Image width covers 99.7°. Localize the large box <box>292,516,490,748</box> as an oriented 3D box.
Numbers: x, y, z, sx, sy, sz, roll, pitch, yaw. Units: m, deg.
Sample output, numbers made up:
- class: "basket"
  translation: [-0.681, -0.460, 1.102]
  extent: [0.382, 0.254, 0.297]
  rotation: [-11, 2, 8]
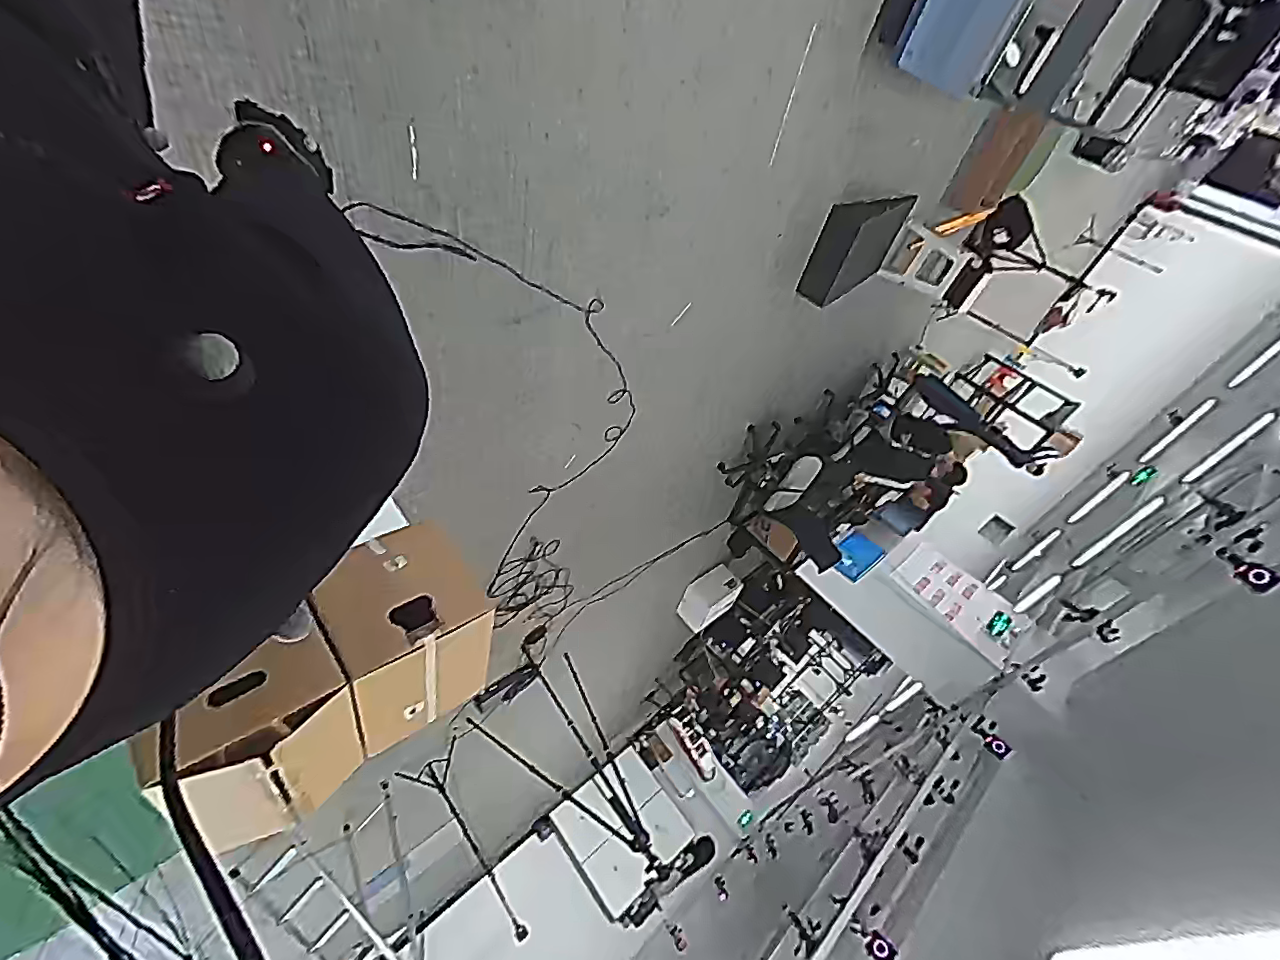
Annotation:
- class: "large box"
  translation: [-0.591, 0.361, 1.311]
  extent: [0.320, 0.320, 0.408]
  rotation: [-22, 147, -37]
